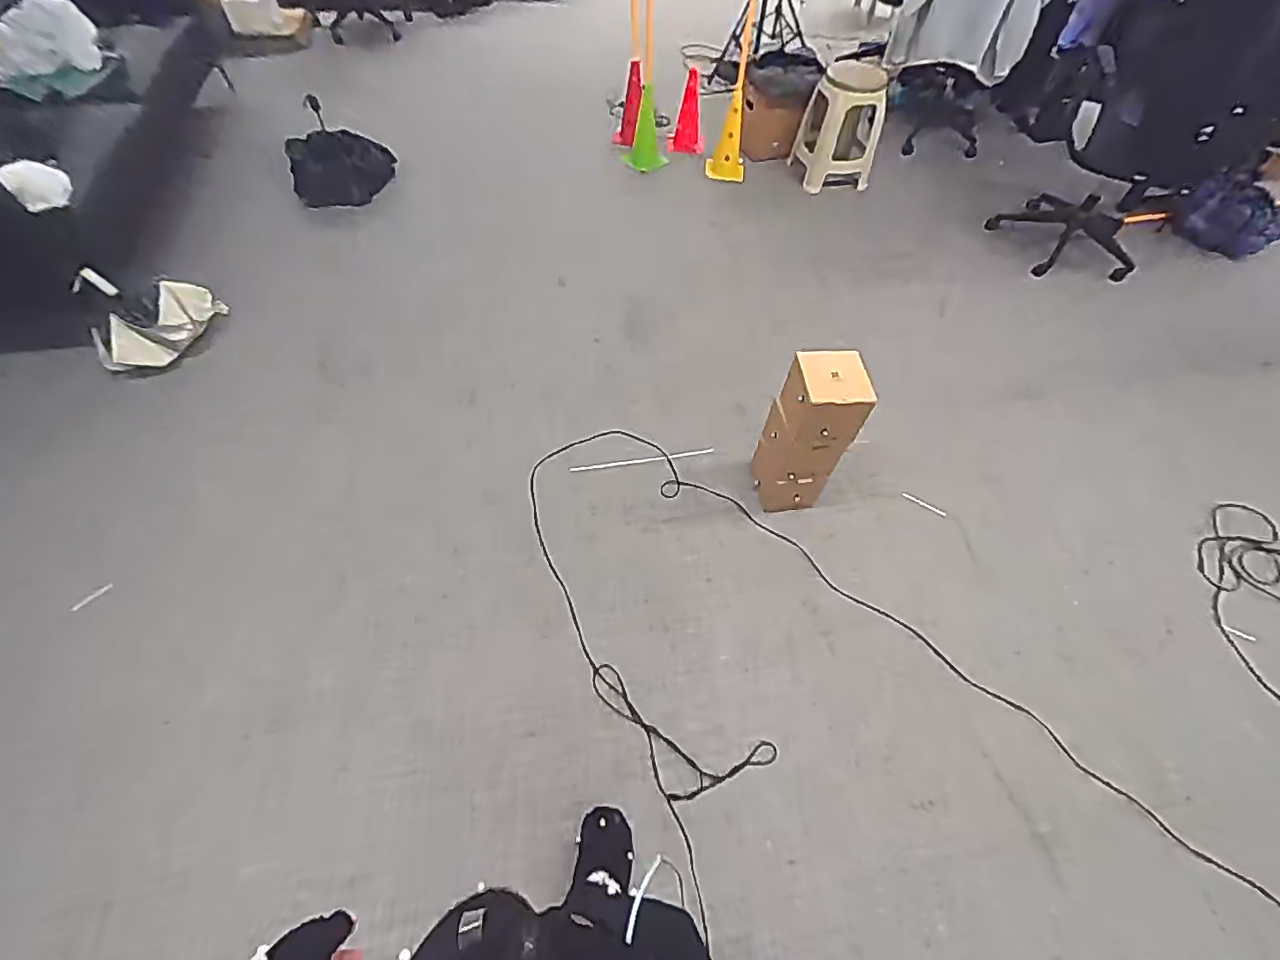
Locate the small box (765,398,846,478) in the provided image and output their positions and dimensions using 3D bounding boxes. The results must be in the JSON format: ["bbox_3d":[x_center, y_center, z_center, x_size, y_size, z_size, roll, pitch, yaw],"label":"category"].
[{"bbox_3d":[0.469,-0.118,1.533,0.168,0.176,0.179,-6,56,-6],"label":"small box"}]

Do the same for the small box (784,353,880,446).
[{"bbox_3d":[0.484,-0.206,1.397,0.168,0.176,0.179,-1,58,-4],"label":"small box"}]

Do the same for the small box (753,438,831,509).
[{"bbox_3d":[0.462,-0.021,1.666,0.168,0.176,0.179,-6,58,-6],"label":"small box"}]
